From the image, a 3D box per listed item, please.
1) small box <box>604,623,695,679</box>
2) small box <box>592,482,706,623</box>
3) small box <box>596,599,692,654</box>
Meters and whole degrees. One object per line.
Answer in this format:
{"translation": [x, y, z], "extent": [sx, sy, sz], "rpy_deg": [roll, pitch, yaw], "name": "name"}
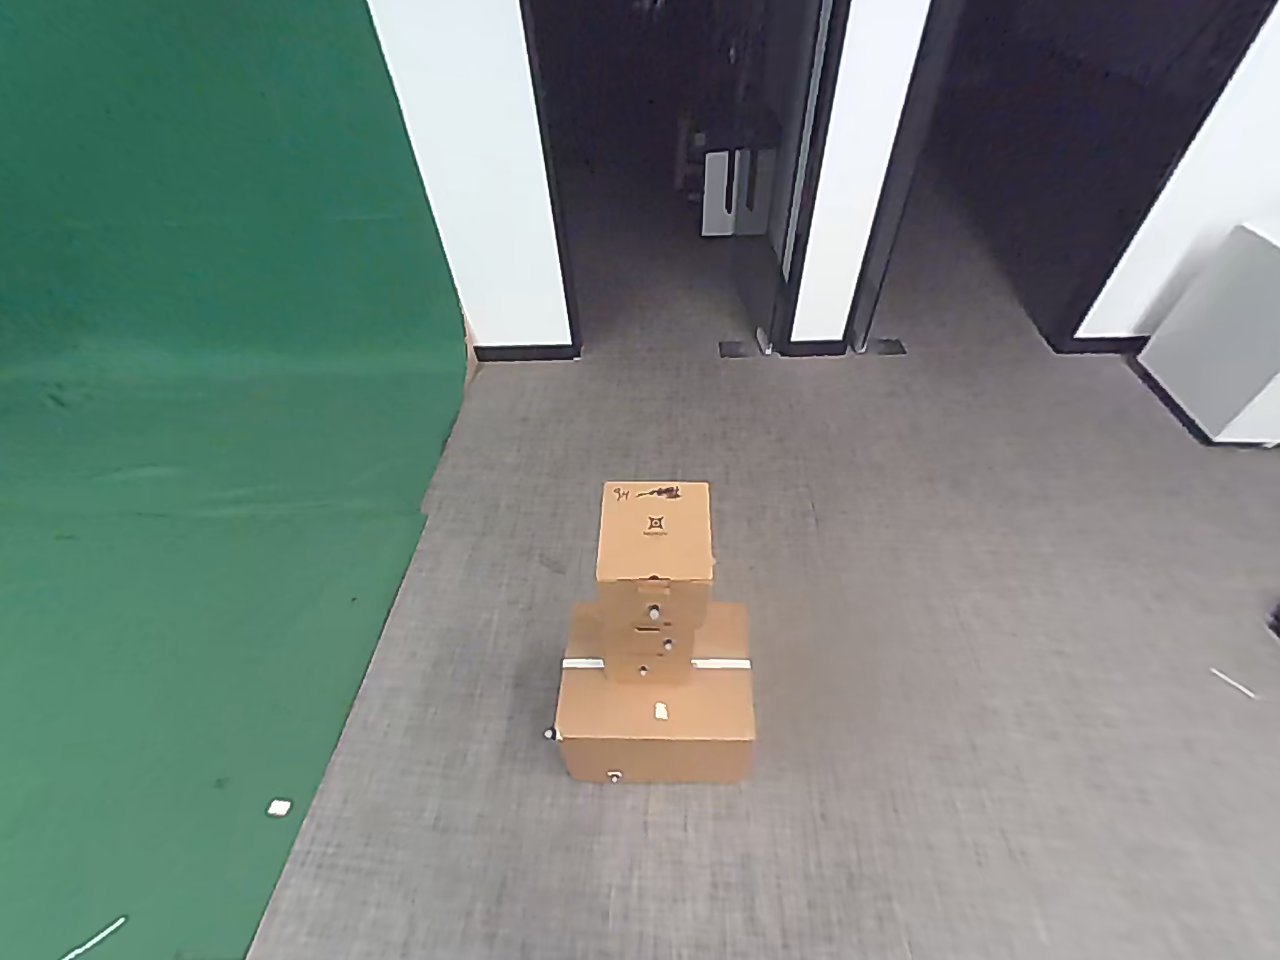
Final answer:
{"translation": [0.021, 0.312, 1.137], "extent": [0.179, 0.176, 0.168], "rpy_deg": [-1, 53, 2], "name": "small box"}
{"translation": [0.020, 0.121, 0.873], "extent": [0.168, 0.176, 0.179], "rpy_deg": [0, 54, 3], "name": "small box"}
{"translation": [0.014, 0.214, 1.008], "extent": [0.168, 0.176, 0.179], "rpy_deg": [0, 52, 2], "name": "small box"}
